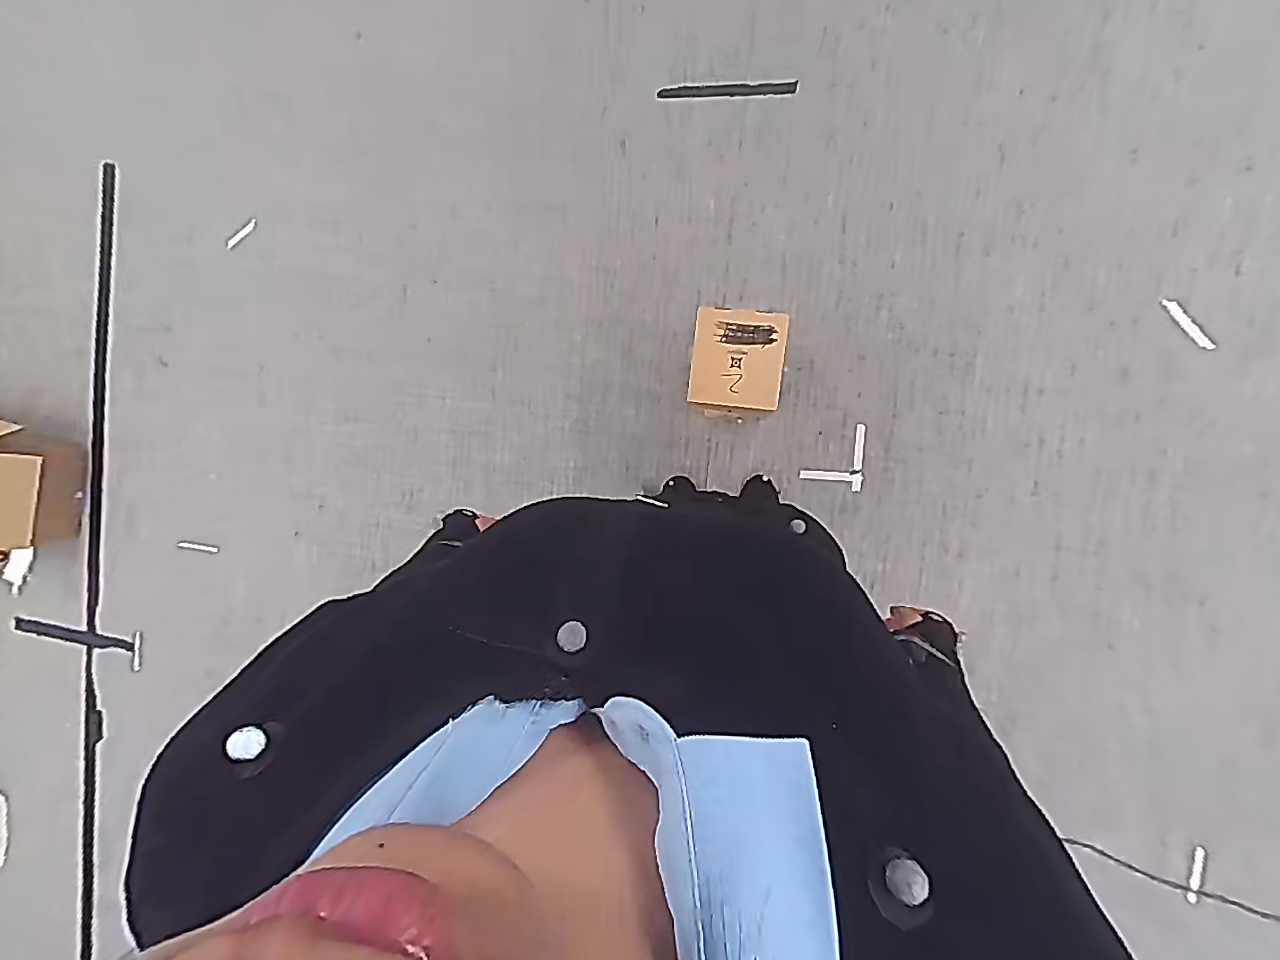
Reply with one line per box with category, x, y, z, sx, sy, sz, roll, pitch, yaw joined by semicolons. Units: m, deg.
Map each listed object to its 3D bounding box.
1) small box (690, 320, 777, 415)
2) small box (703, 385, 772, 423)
small box;0.207;-0.246;1.213;0.168;0.176;0.179;7;94;9
small box;0.241;-0.246;1.373;0.168;0.176;0.179;-6;92;11
